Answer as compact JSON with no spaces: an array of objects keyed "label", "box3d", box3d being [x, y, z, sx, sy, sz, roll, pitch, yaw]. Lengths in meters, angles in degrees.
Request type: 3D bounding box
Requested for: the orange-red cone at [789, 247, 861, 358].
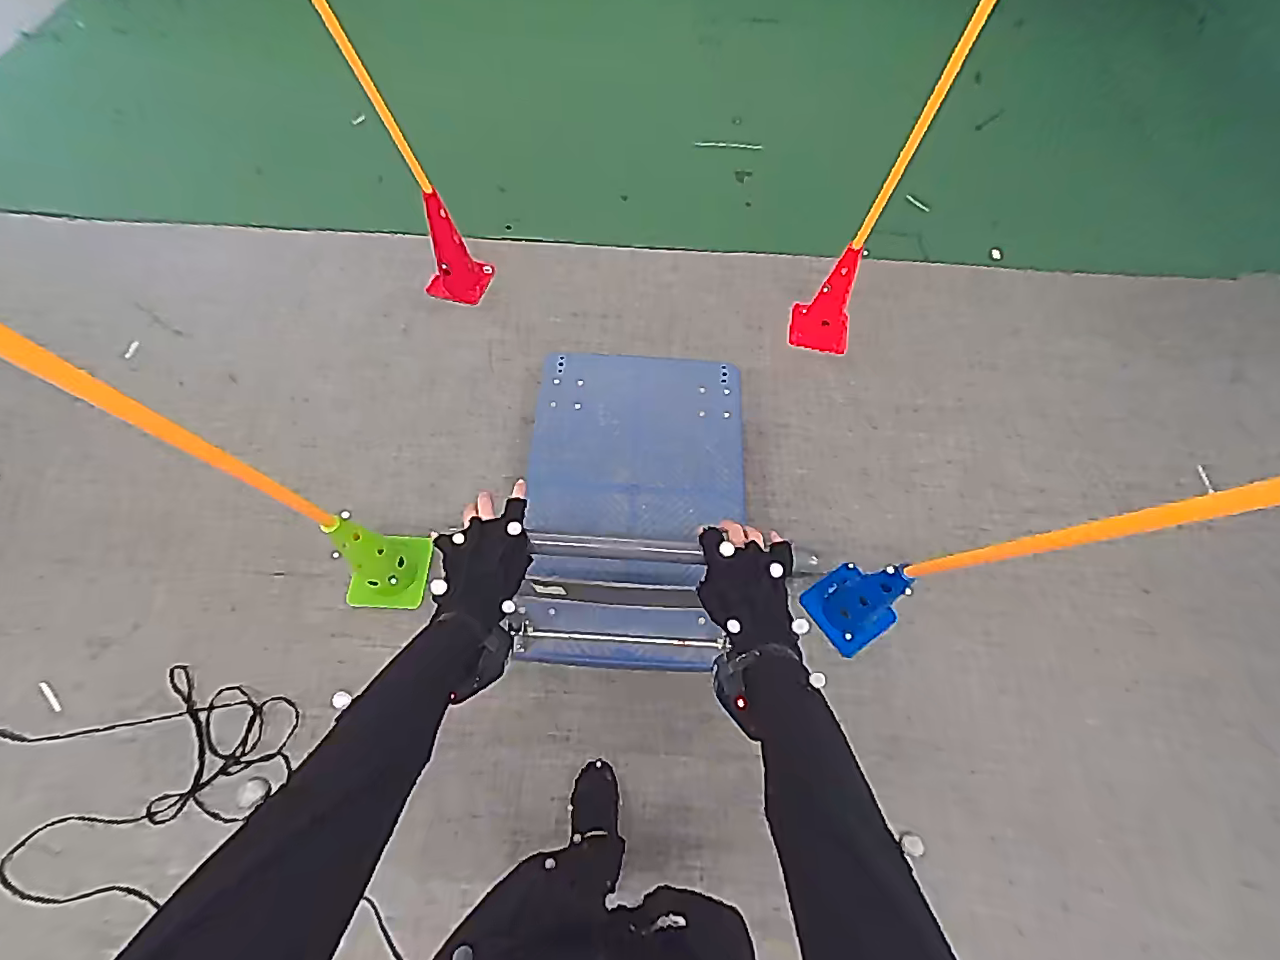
[{"label":"orange-red cone","box3d":[0.632,-0.594,1.748,0.198,0.360,0.199,13,64,6]}]
